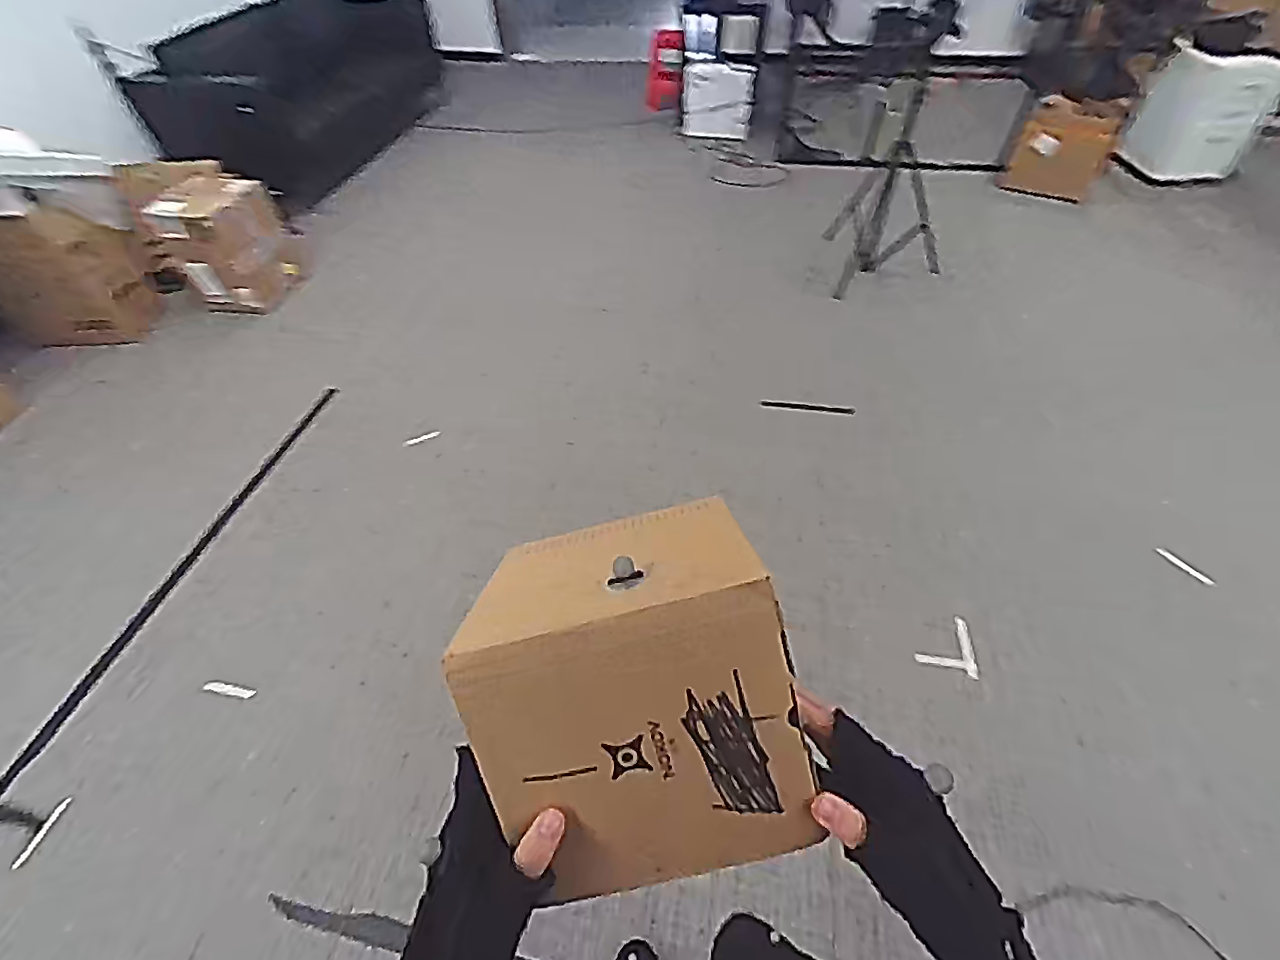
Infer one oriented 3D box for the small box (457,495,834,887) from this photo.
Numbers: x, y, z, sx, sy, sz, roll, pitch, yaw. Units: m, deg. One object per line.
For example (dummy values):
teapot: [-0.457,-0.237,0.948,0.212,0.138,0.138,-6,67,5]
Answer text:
small box: [0.007,0.119,0.366,0.179,0.168,0.176,-13,11,3]
